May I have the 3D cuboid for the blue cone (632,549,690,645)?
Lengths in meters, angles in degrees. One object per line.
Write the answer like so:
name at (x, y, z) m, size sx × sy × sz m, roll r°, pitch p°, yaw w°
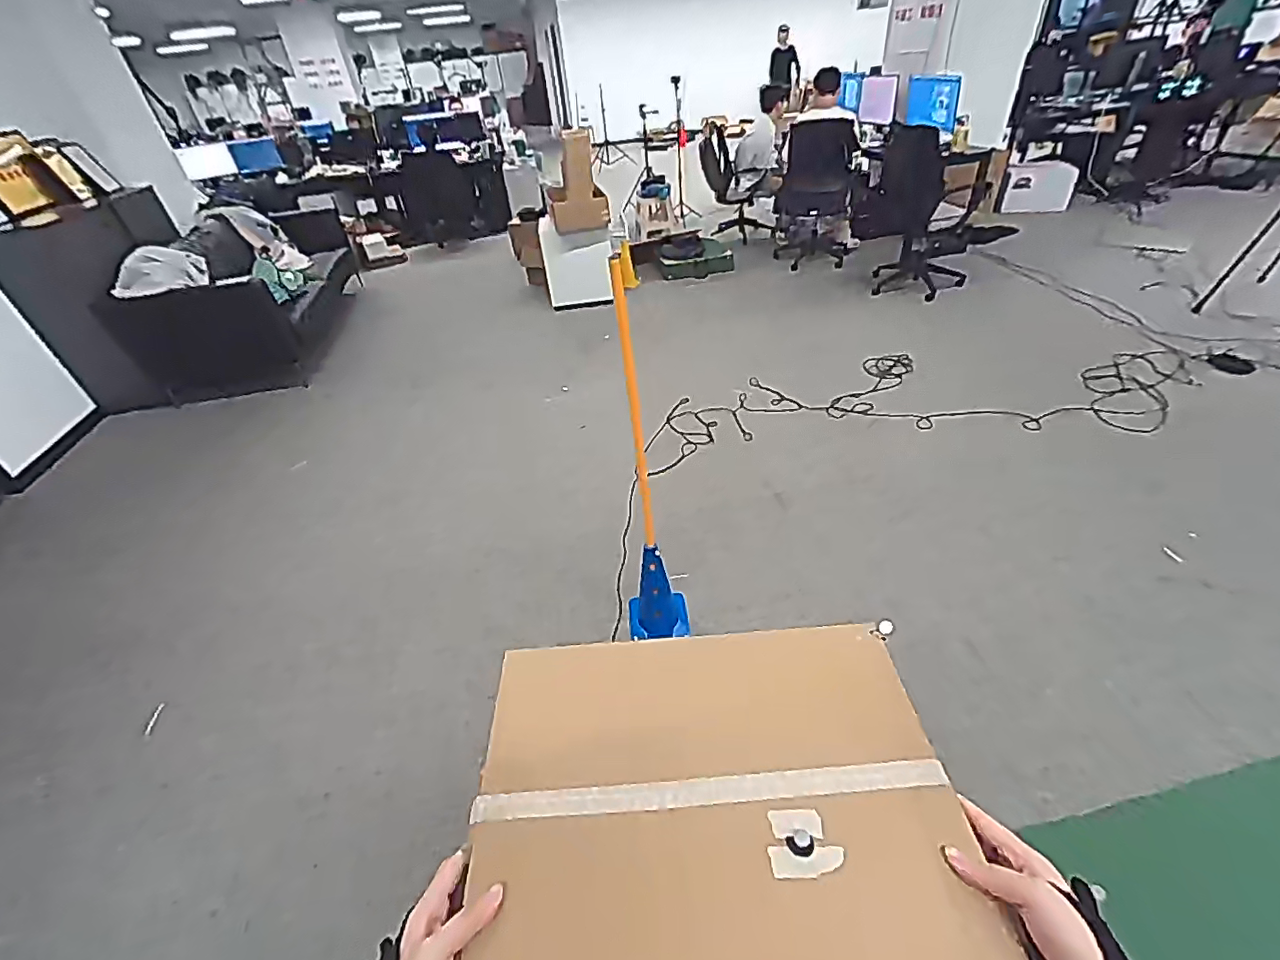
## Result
blue cone at (0.054, 0.362, 1.763) m, size 0.193 × 0.380 × 0.192 m, roll -6°, pitch 38°, yaw 1°

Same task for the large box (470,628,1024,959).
large box at (0.072, 0.389, 0.570) m, size 0.408 × 0.320 × 0.320 m, roll -4°, pitch 40°, yaw 0°
